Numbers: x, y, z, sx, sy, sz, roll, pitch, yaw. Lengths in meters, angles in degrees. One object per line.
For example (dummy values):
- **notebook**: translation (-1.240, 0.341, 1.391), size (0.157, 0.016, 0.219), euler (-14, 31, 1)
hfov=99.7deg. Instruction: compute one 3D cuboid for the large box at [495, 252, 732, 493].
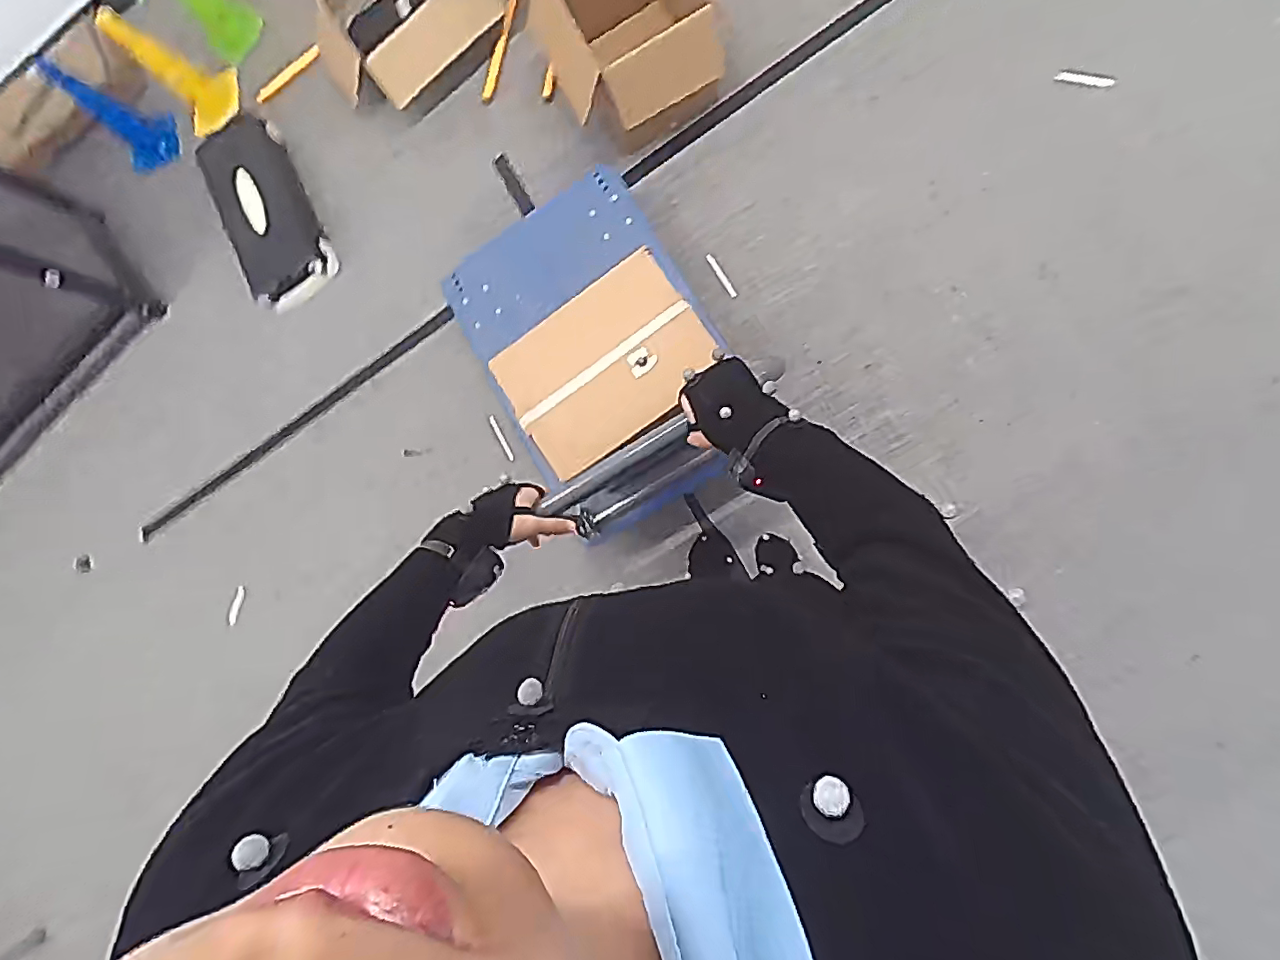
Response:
- **large box**: translation (-0.042, -0.215, 1.239), size (0.408, 0.320, 0.320), euler (-35, 80, 6)
